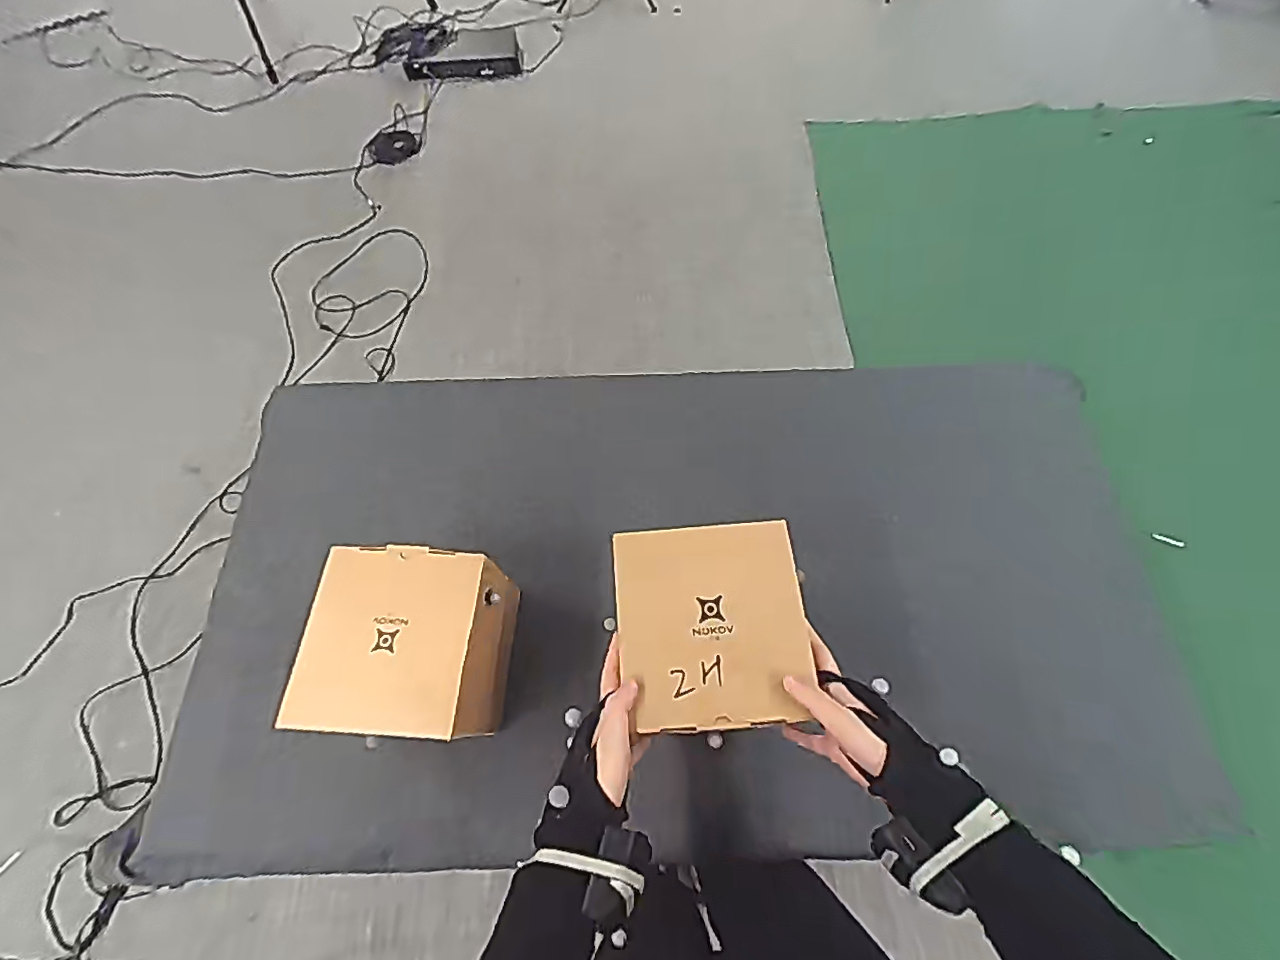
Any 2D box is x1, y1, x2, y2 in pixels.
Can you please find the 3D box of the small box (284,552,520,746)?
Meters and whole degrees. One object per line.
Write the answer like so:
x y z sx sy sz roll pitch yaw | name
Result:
-0.240 0.191 0.600 0.168 0.176 0.179 2 65 3 | small box

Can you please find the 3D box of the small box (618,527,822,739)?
0.067 0.162 0.551 0.168 0.176 0.179 -5 64 1 | small box
